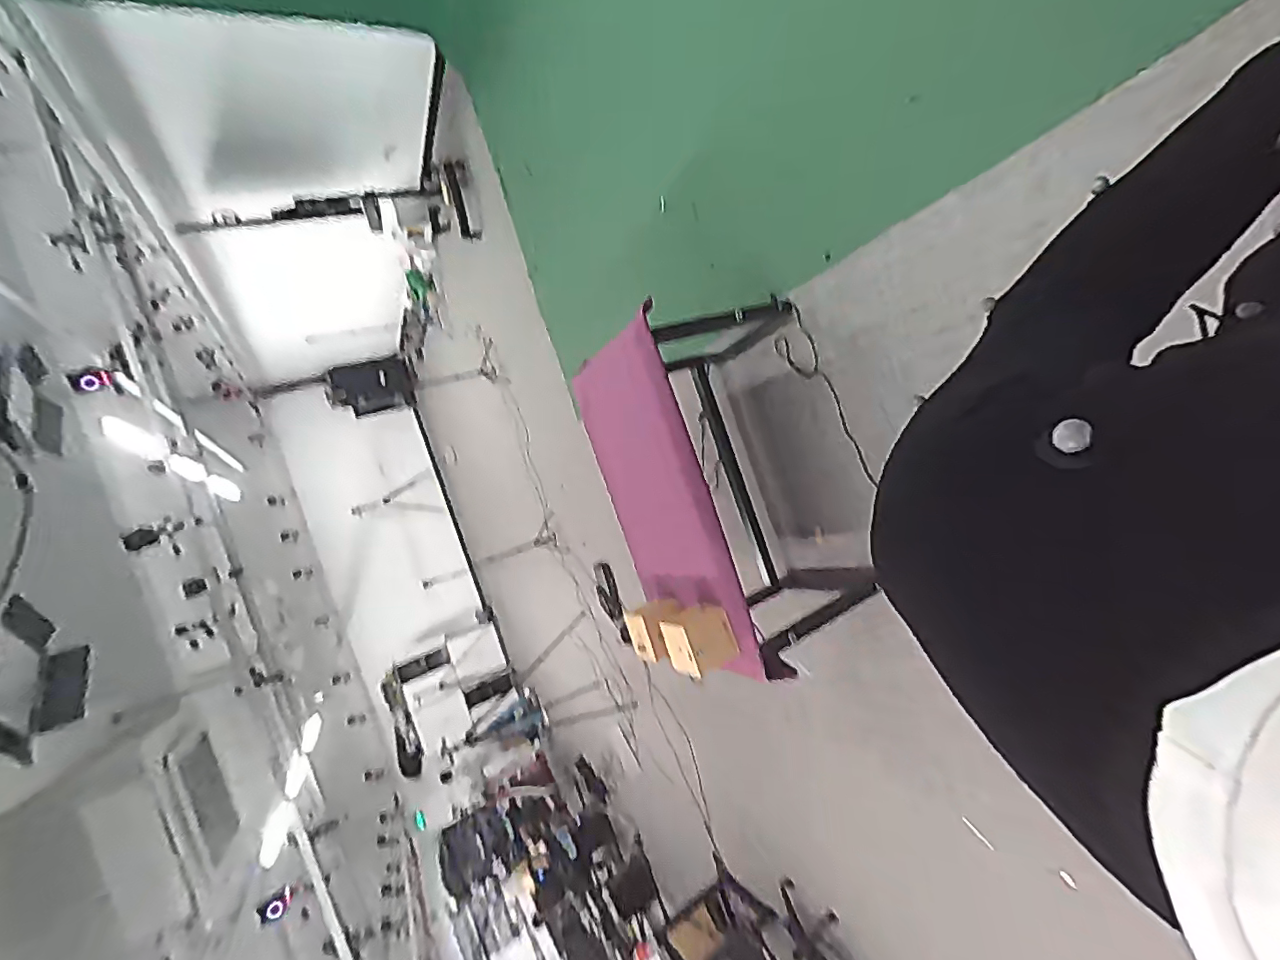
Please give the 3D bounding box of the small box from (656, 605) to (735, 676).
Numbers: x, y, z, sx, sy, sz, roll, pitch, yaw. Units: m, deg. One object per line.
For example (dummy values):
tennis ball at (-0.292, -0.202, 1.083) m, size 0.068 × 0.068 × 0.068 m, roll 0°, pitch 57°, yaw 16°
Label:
small box at (0.185, 0.527, 1.800) m, size 0.179 × 0.176 × 0.168 m, roll -21°, pitch 89°, yaw 64°

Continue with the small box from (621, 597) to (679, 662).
small box at (0.055, 0.565, 2.058) m, size 0.168 × 0.176 × 0.179 m, roll -17°, pitch 91°, yaw 61°
